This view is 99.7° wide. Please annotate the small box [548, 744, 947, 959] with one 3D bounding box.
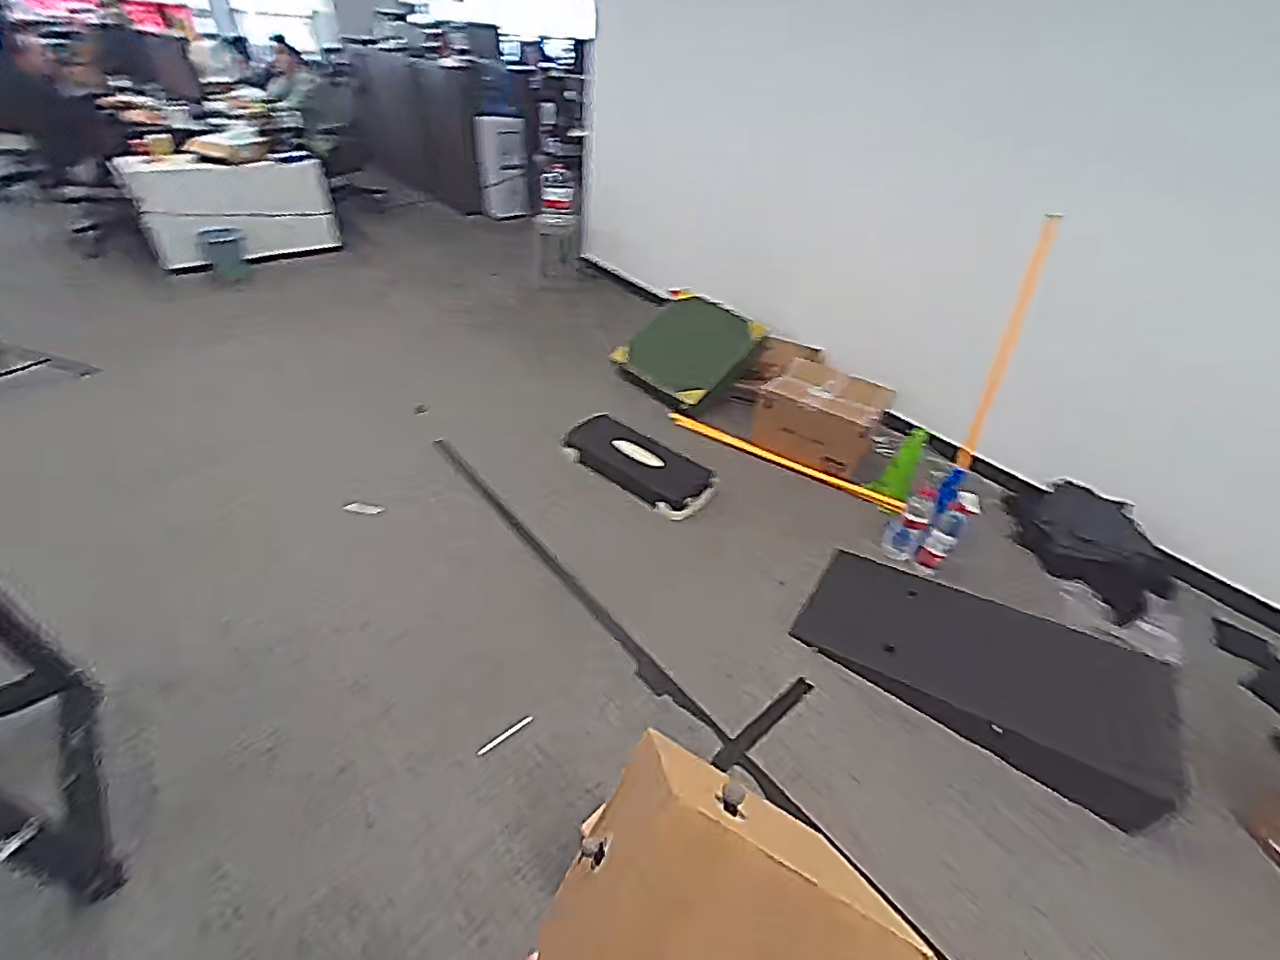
[{"bbox_3d":[0.048,0.301,0.358,0.179,0.176,0.168,30,76,2],"label":"small box"}]
